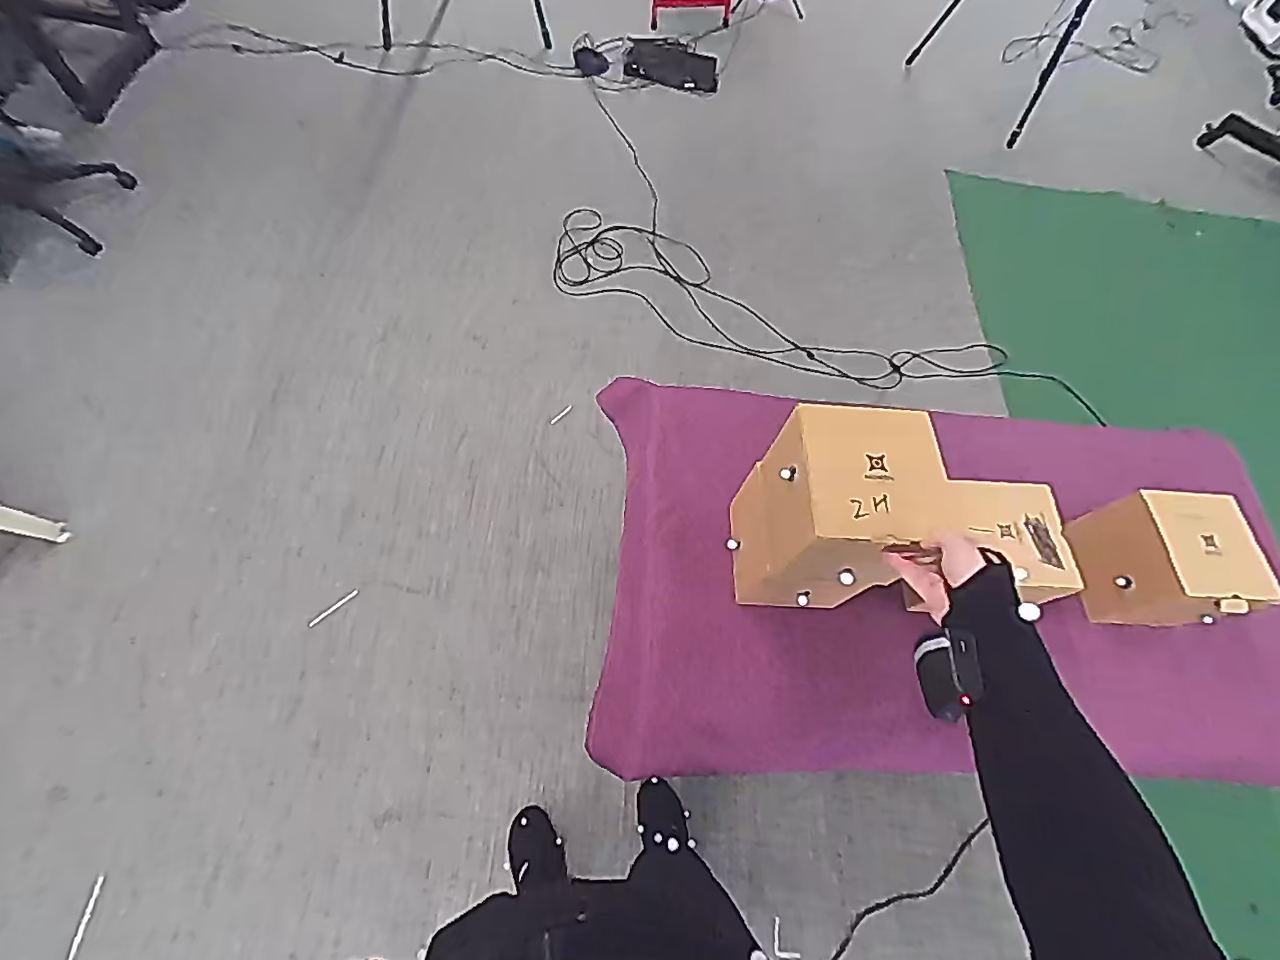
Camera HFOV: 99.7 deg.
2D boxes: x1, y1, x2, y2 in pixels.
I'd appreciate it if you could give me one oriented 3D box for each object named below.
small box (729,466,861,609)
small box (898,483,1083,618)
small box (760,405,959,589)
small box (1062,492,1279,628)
[{"bbox_3d":[0.241,0.096,0.836,0.168,0.176,0.179,4,63,-5],"label":"small box"},{"bbox_3d":[0.531,0.118,0.858,0.179,0.176,0.168,3,63,-4],"label":"small box"},{"bbox_3d":[0.259,0.028,0.688,0.168,0.176,0.179,3,63,-4],"label":"small box"},{"bbox_3d":[0.849,0.138,0.884,0.168,0.176,0.179,4,62,-5],"label":"small box"}]
